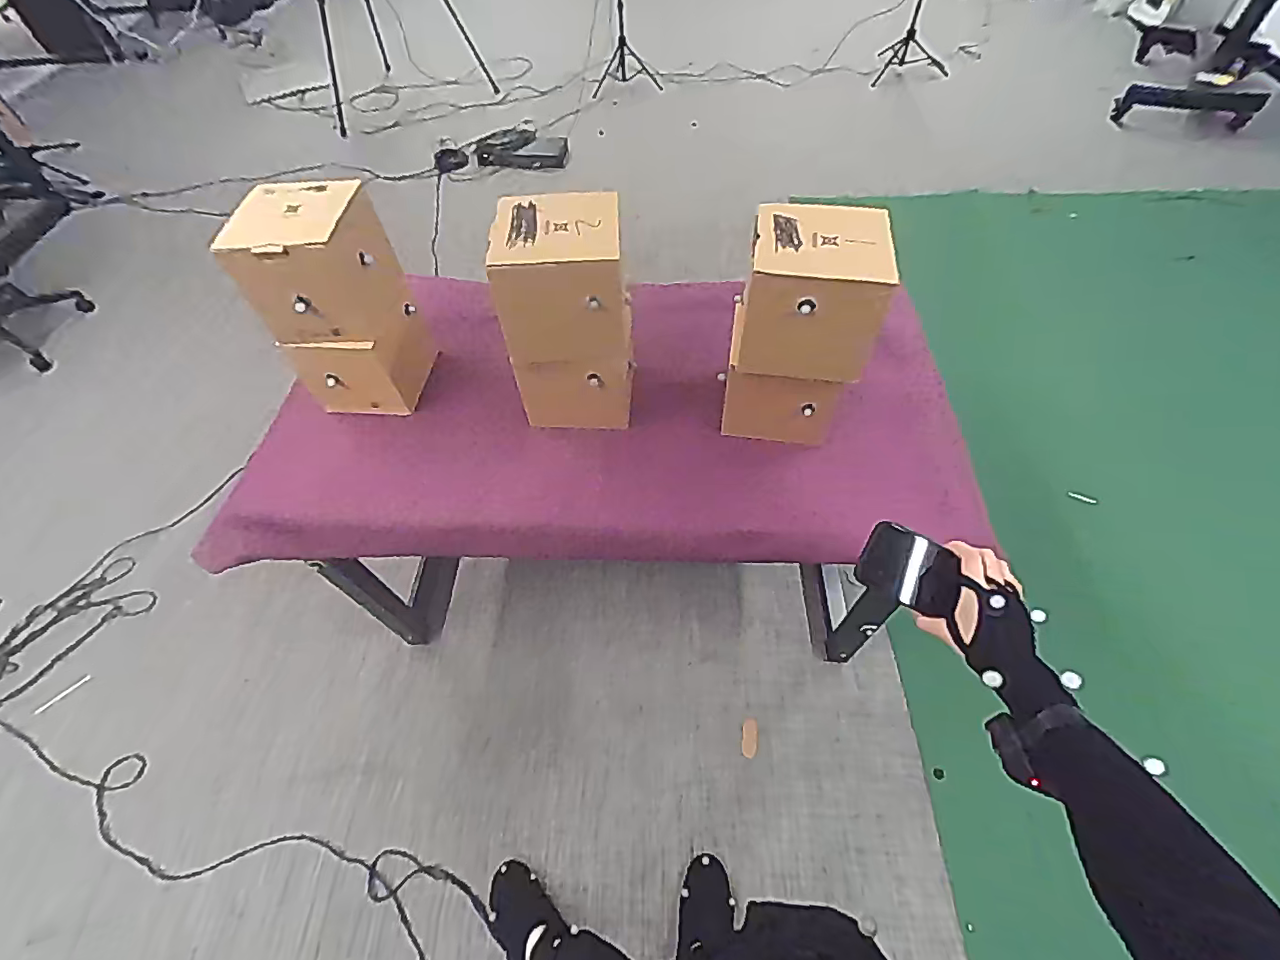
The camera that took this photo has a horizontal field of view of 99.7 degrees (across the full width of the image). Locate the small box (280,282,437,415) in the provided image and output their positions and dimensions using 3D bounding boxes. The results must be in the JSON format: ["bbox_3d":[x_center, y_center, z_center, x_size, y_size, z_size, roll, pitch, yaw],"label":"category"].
[{"bbox_3d":[-0.490,-0.233,0.976,0.168,0.176,0.179,2,55,5],"label":"small box"}]

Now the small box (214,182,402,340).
[{"bbox_3d":[-0.498,-0.334,0.846,0.168,0.176,0.179,-2,56,1],"label":"small box"}]

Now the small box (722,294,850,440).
[{"bbox_3d":[0.236,-0.184,0.898,0.179,0.176,0.168,7,56,9],"label":"small box"}]

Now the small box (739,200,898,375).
[{"bbox_3d":[0.236,-0.264,0.754,0.179,0.176,0.168,7,56,7],"label":"small box"}]

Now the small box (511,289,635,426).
[{"bbox_3d":[-0.102,-0.206,0.932,0.179,0.176,0.168,2,55,5],"label":"small box"}]
